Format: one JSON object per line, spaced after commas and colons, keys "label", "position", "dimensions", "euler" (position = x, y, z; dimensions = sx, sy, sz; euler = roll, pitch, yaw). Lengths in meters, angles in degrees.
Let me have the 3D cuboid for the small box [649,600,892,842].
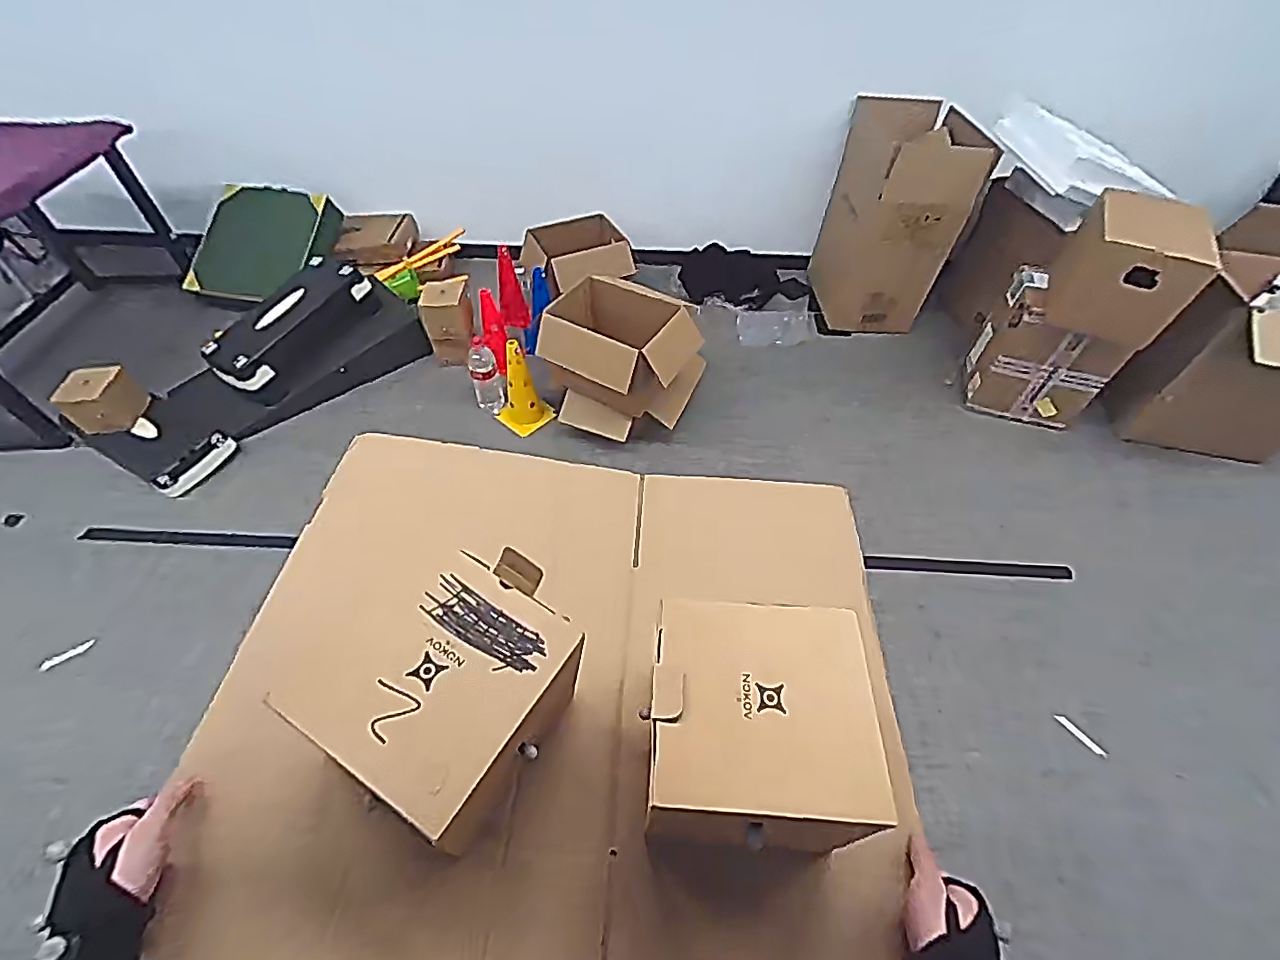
{"label": "small box", "position": [0.103, 0.231, 0.508], "dimensions": [0.179, 0.176, 0.168], "euler": [3, 51, 2]}
